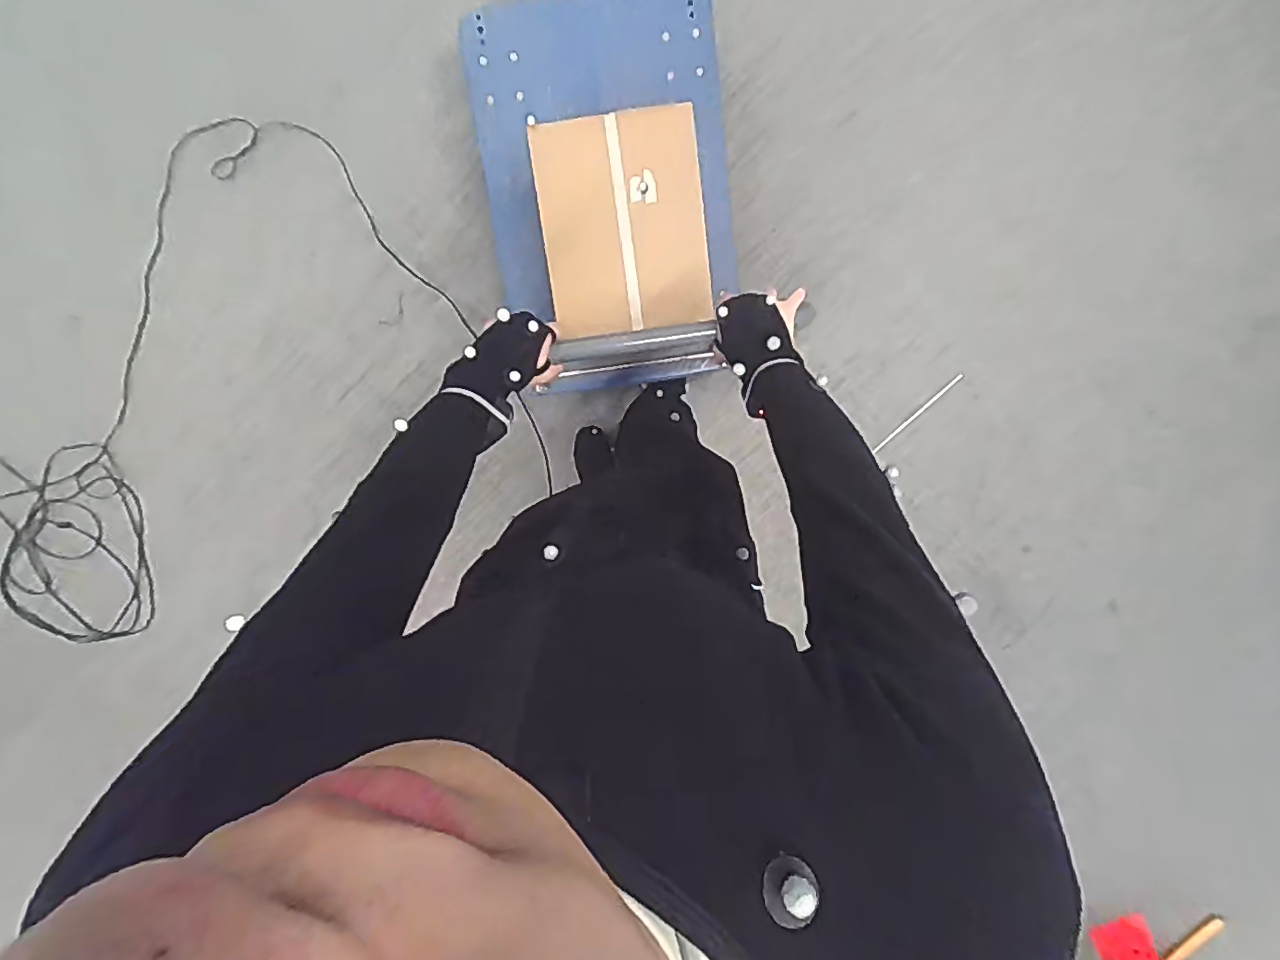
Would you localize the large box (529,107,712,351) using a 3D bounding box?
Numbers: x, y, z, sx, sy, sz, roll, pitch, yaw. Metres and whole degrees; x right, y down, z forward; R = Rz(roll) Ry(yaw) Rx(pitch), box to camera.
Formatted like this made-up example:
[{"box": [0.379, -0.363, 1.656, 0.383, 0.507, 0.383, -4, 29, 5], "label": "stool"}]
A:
[{"box": [-0.033, -0.517, 1.201, 0.320, 0.320, 0.408, -7, 101, 0], "label": "large box"}]
